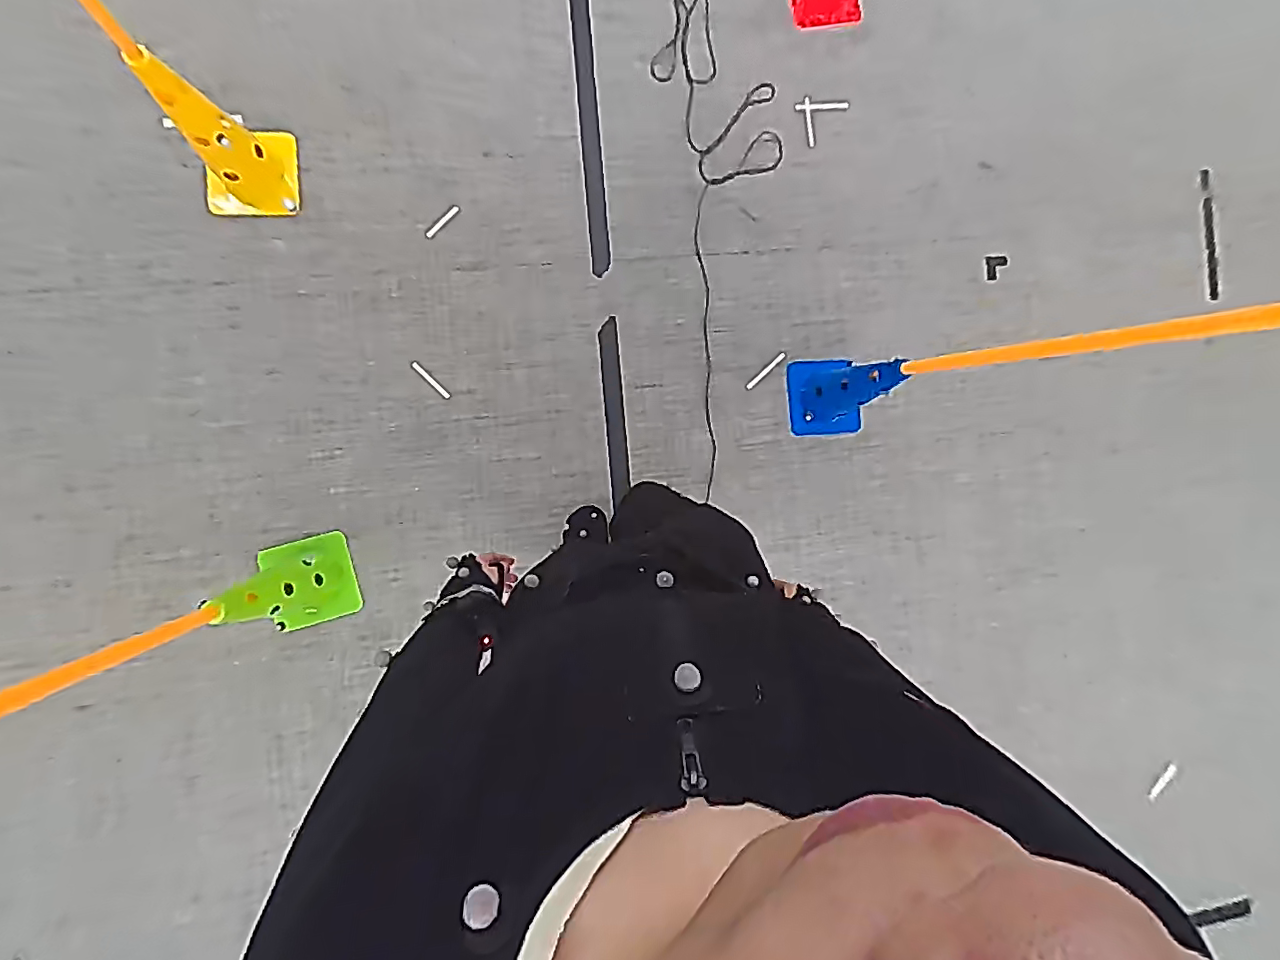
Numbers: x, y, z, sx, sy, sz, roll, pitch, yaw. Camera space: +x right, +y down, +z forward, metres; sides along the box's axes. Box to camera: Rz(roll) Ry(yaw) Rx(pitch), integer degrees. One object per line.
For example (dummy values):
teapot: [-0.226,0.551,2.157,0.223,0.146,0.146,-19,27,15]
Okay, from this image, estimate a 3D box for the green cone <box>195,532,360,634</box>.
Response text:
green cone: [-0.754,0.230,1.096,0.200,0.368,0.202,-16,89,-8]

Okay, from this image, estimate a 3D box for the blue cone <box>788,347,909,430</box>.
blue cone: [0.514,-0.238,1.289,0.193,0.380,0.192,-3,88,-8]

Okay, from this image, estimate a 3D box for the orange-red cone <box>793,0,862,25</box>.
orange-red cone: [0.523,-1.349,1.306,0.199,0.360,0.198,-11,89,-6]
